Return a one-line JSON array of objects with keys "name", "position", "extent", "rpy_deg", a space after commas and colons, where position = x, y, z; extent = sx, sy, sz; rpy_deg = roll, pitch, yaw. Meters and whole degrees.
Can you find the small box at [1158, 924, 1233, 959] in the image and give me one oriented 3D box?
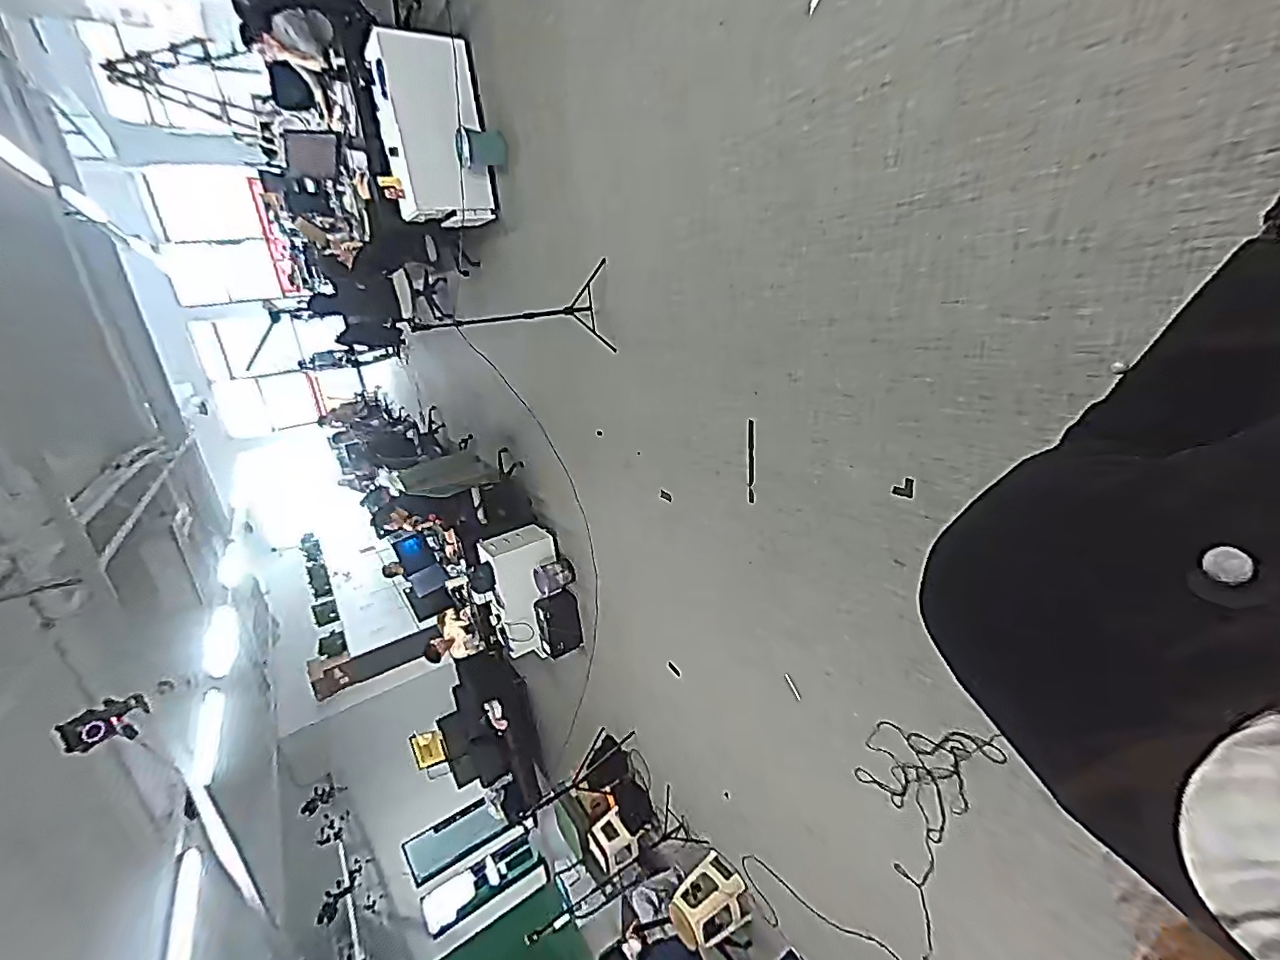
[{"name": "small box", "position": [1.486, 1.349, 1.433], "extent": [0.168, 0.176, 0.179], "rpy_deg": [19, 122, 54]}]
